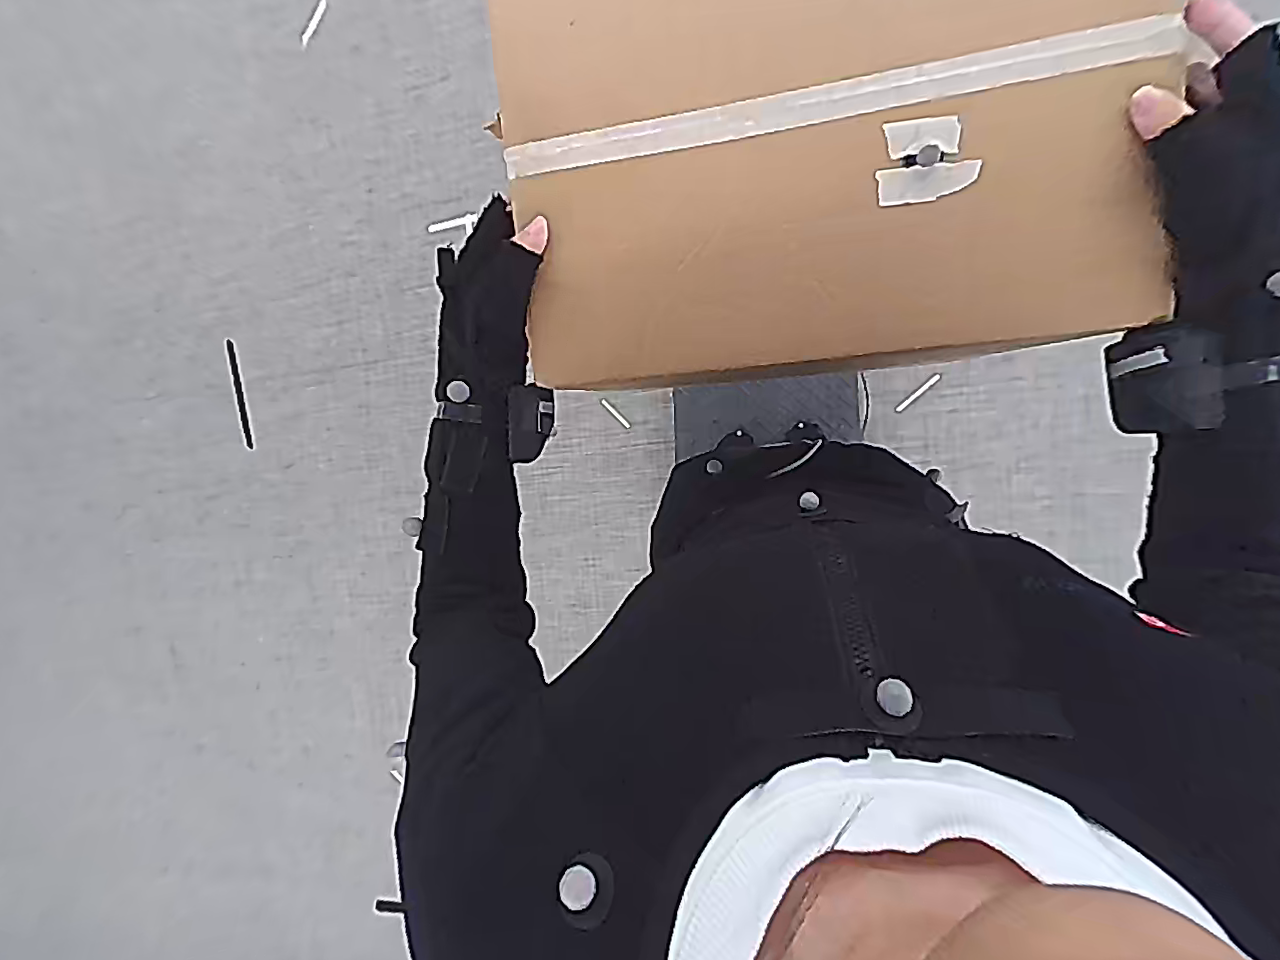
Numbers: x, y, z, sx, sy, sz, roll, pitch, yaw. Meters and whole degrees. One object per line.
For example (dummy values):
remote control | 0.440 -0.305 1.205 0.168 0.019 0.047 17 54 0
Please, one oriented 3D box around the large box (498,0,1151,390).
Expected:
large box | 0.130 -0.263 0.501 0.408 0.320 0.320 -4 98 10
